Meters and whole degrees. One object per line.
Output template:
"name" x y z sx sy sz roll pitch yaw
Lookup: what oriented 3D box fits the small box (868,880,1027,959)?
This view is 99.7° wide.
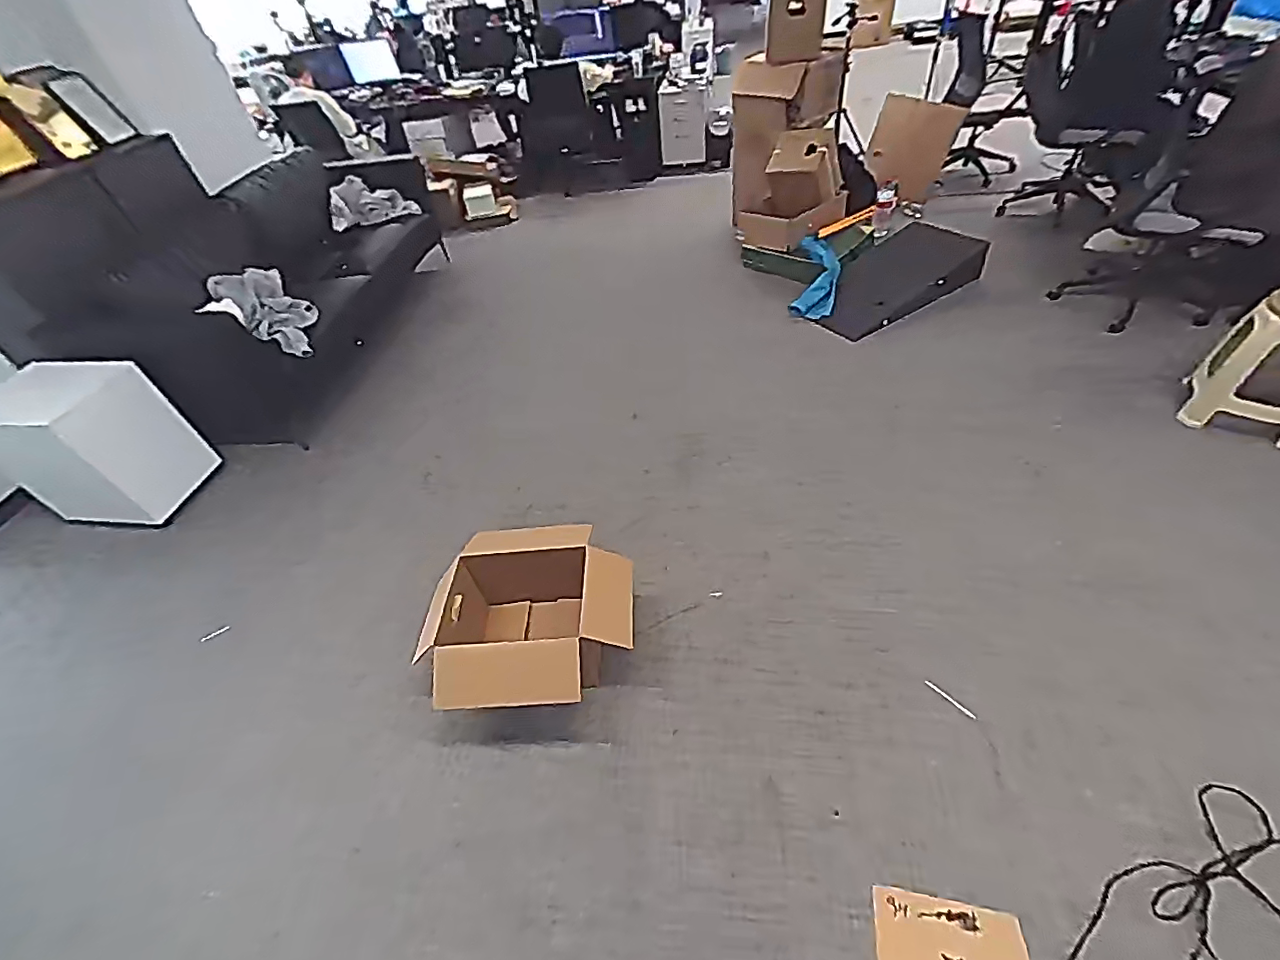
"small box" 0.359 0.628 0.630 0.168 0.176 0.179 -1 19 21
